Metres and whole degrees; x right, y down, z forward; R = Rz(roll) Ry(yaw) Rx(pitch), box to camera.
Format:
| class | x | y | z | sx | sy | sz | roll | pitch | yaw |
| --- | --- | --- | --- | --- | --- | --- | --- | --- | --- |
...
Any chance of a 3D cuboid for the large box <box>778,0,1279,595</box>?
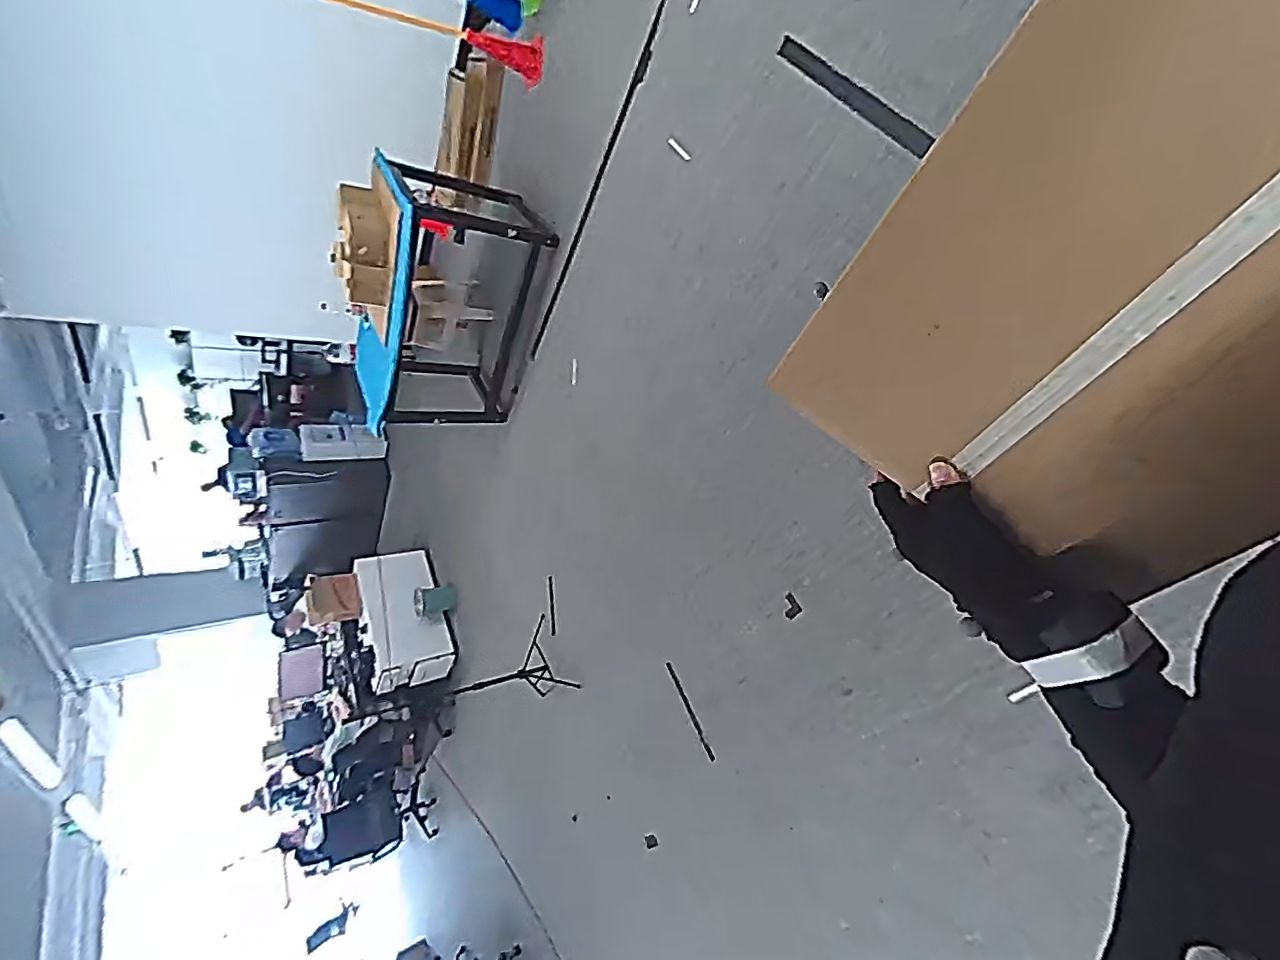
| class | x | y | z | sx | sy | sz | roll | pitch | yaw |
| --- | --- | --- | --- | --- | --- | --- | --- | --- | --- |
| large box | 0.379 | -0.195 | 0.422 | 0.320 | 0.320 | 0.408 | 37 | 134 | 7 |
